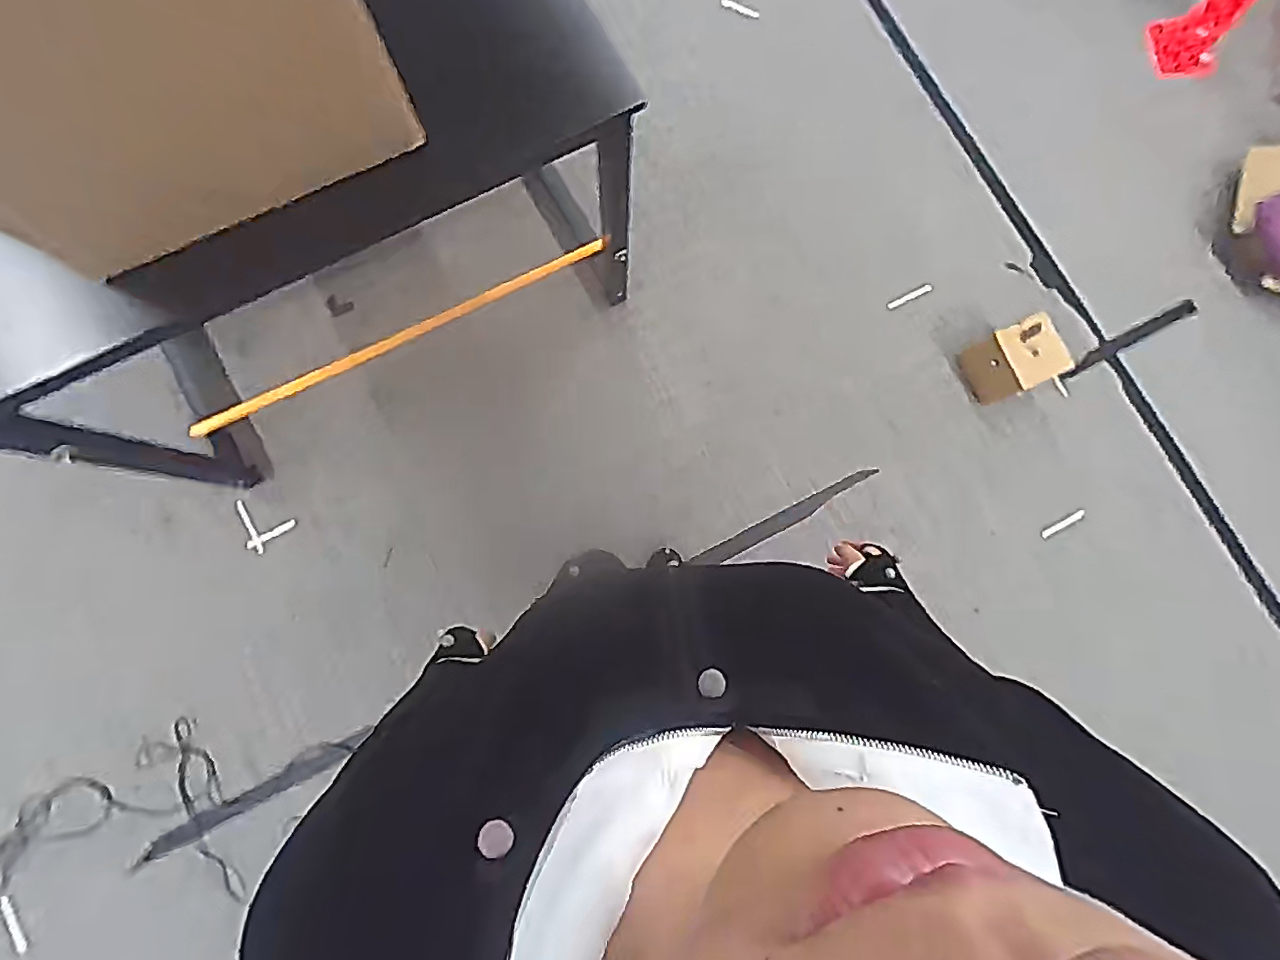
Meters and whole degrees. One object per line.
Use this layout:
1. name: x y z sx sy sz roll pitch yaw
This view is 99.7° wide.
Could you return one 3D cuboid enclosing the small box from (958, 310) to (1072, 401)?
1. small box: 1.055 -0.347 1.538 0.168 0.176 0.179 -24 85 -5
